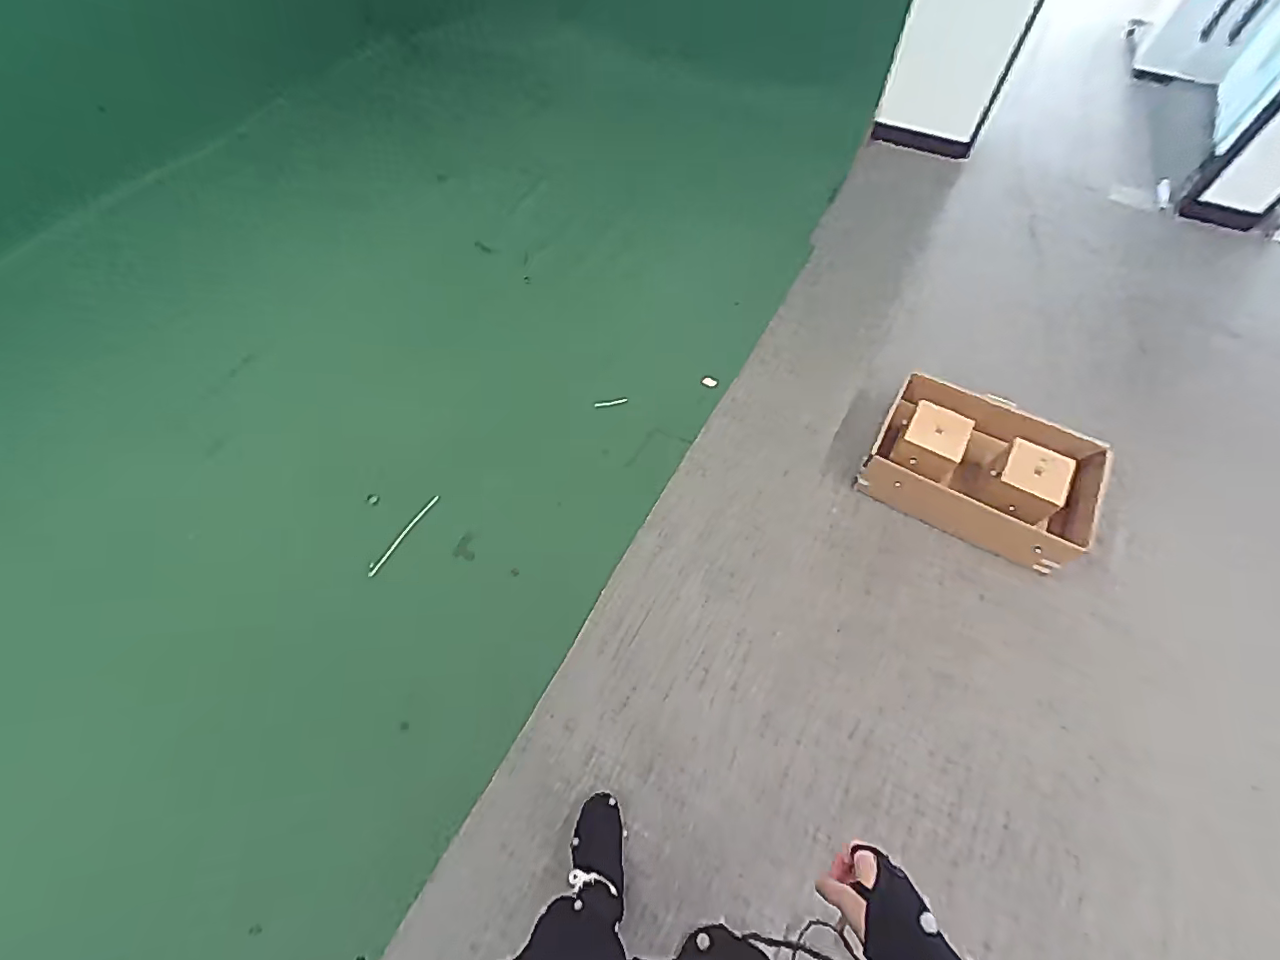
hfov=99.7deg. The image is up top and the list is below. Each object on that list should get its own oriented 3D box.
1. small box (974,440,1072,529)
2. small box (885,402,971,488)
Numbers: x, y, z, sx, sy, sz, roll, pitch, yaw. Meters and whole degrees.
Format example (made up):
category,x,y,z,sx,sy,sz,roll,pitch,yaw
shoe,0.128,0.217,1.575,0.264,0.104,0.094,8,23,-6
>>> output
category,x,y,z,sx,sy,sz,roll,pitch,yaw
small box,1.135,0.019,1.616,0.168,0.176,0.179,28,64,17
small box,0.892,-0.103,1.692,0.168,0.176,0.179,27,63,15
